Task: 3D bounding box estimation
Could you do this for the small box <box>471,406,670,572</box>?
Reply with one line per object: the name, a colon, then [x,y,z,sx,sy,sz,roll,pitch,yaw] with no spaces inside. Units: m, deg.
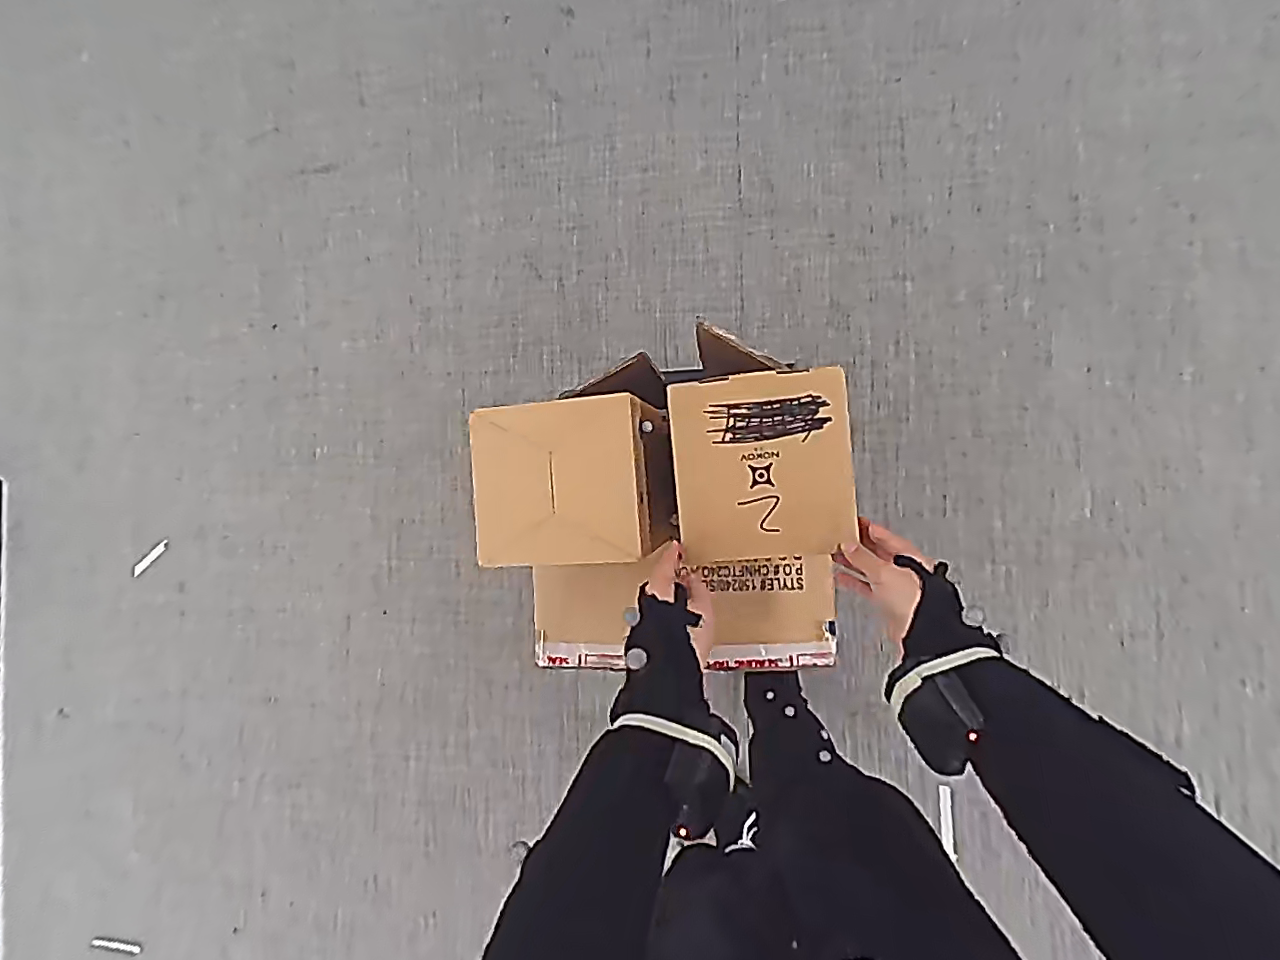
small box: [-0.069,0.010,0.626,0.179,0.176,0.168,-4,89,12]
